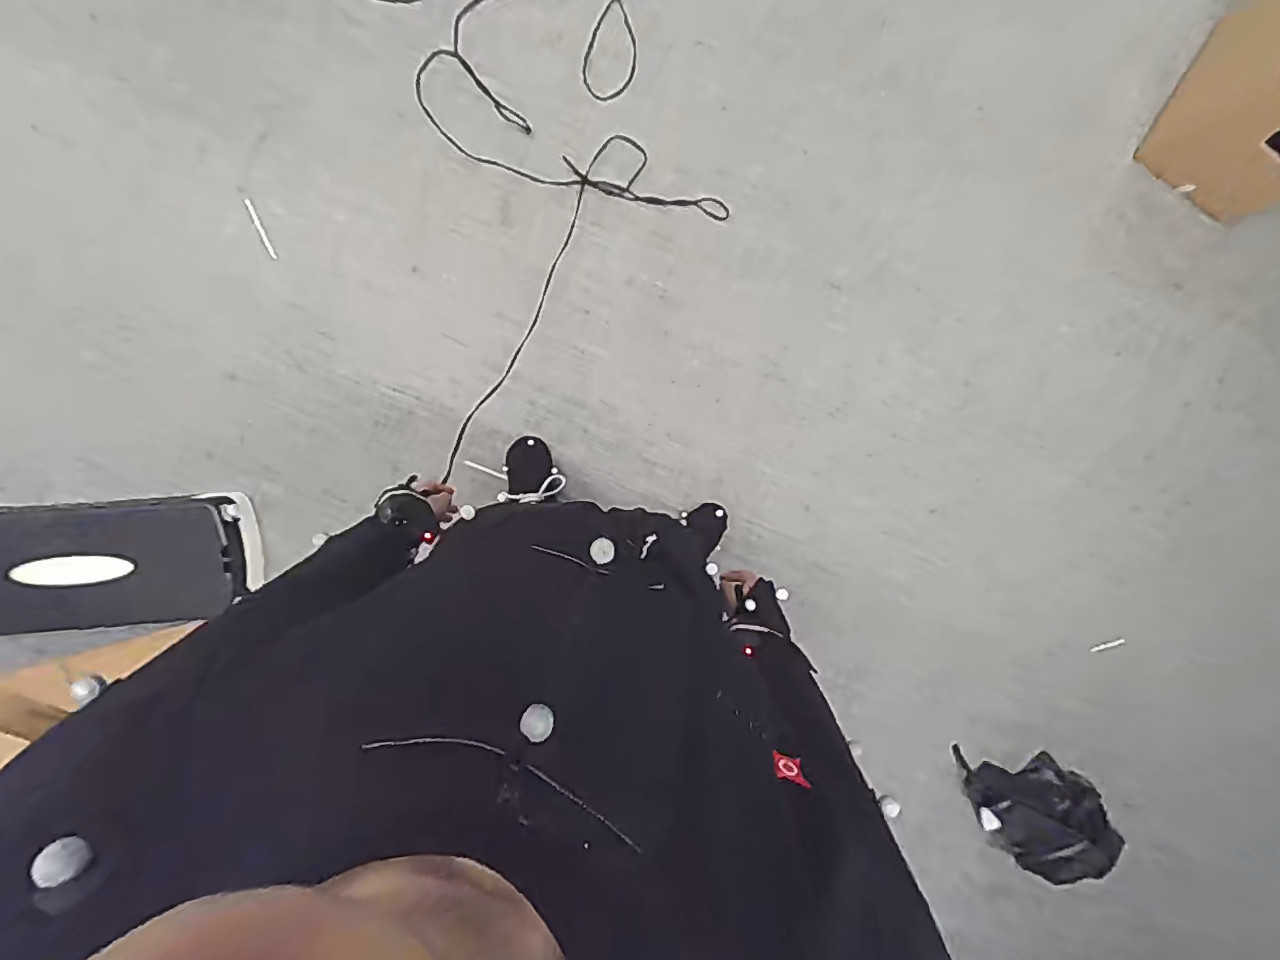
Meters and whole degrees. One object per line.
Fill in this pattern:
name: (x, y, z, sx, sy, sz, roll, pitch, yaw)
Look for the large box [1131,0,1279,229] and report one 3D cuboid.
large box: (1.488, -0.883, 1.243, 0.320, 0.320, 0.408, 30, 93, -6)
